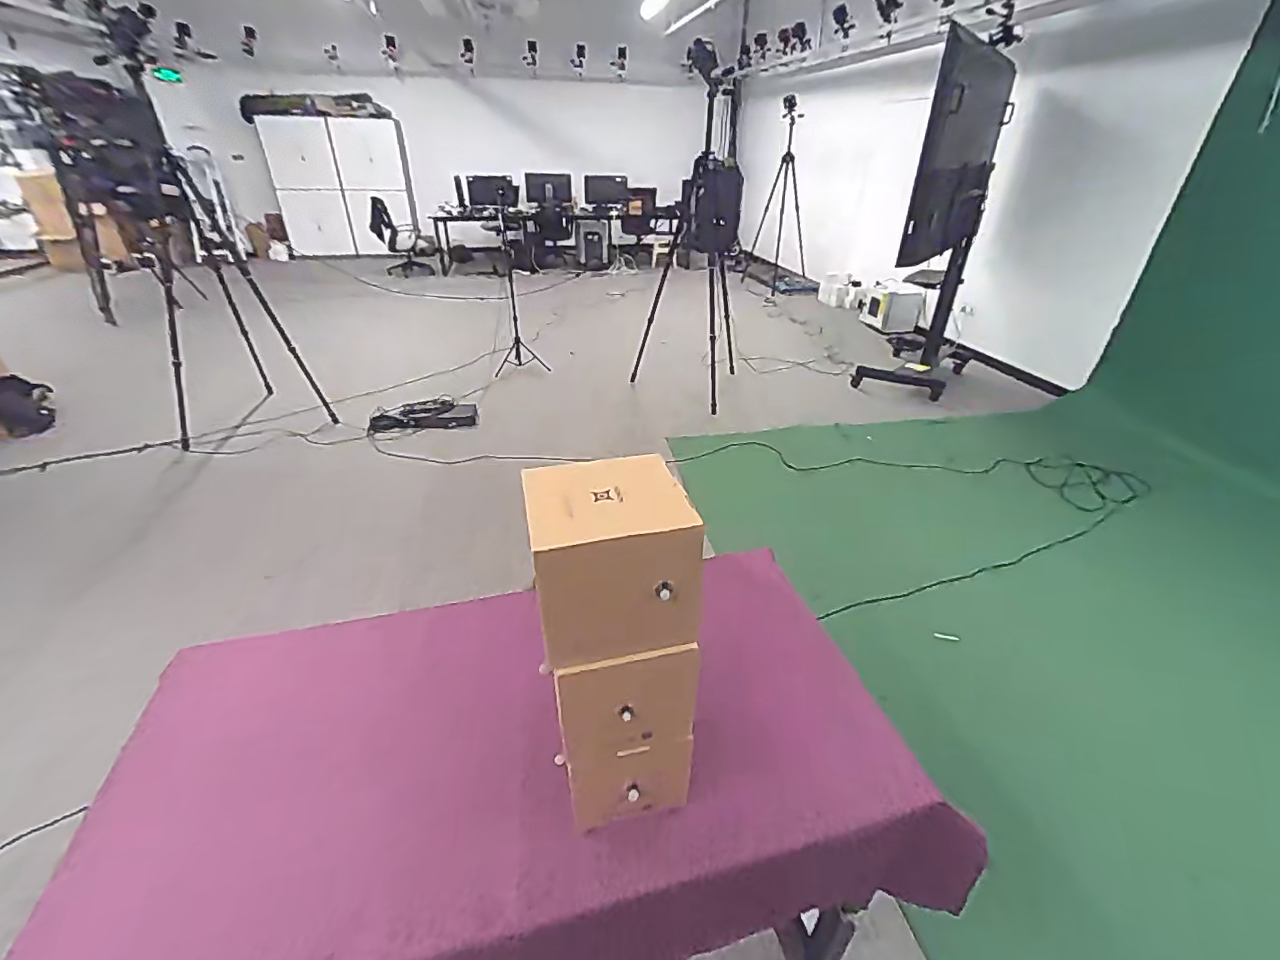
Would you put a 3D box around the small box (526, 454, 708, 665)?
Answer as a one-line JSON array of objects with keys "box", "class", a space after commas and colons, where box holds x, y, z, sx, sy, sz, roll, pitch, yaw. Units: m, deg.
[{"box": [-0.034, 0.088, 0.633, 0.179, 0.176, 0.168, -8, 32, -12], "class": "small box"}]

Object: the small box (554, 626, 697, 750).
[{"box": [-0.031, 0.229, 0.716, 0.168, 0.176, 0.179, -6, 32, -12], "class": "small box"}]

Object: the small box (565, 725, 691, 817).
[{"box": [-0.029, 0.369, 0.804, 0.168, 0.176, 0.179, -6, 33, -12], "class": "small box"}]
